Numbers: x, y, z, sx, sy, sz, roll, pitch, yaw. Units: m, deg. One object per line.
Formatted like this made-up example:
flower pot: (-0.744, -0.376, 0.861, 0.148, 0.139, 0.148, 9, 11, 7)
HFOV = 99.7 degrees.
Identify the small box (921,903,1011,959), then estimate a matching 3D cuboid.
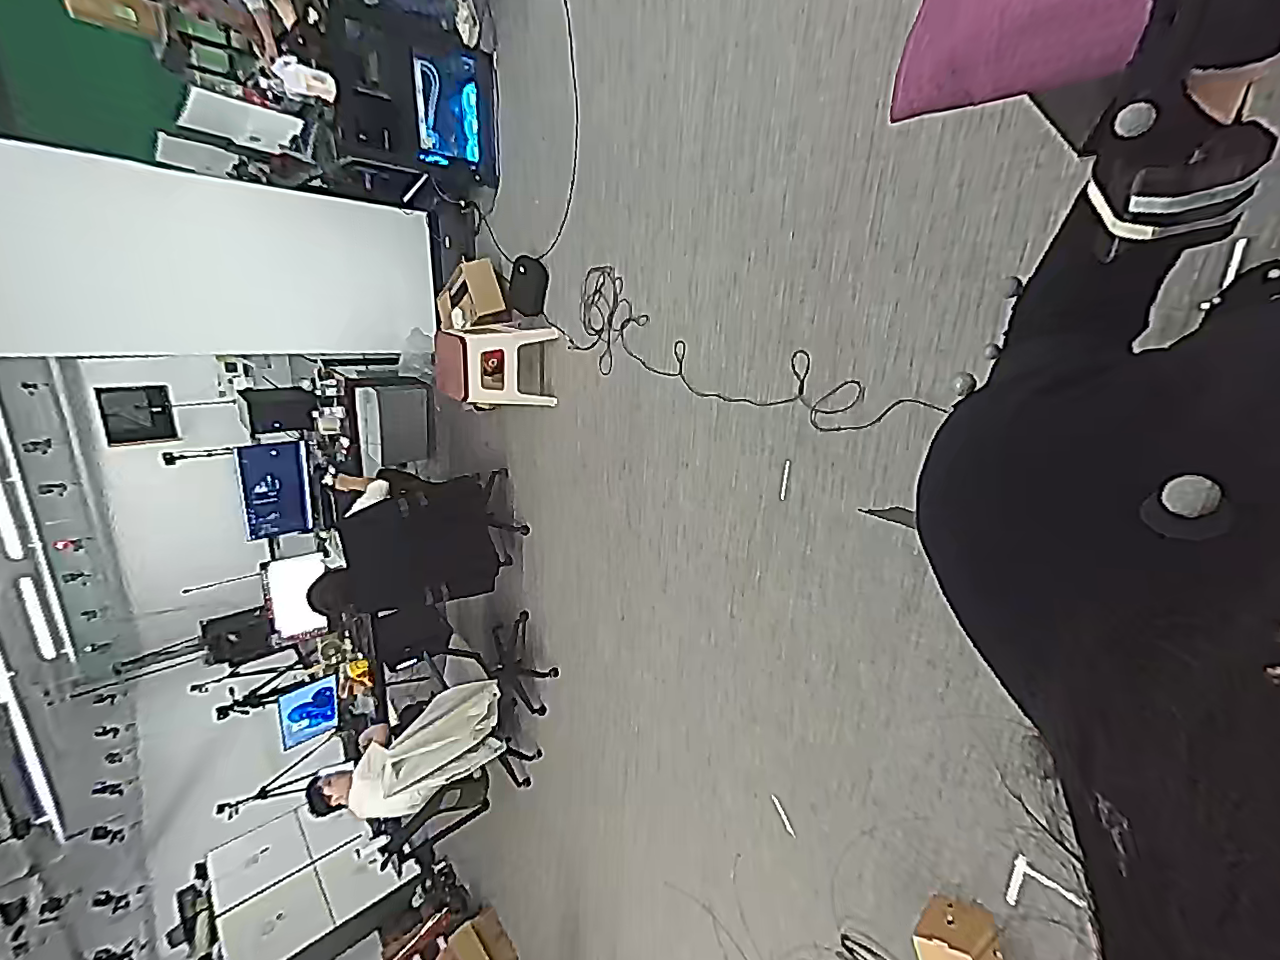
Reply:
small box: (0.939, 1.369, 1.543, 0.168, 0.176, 0.179, -19, 84, 49)
